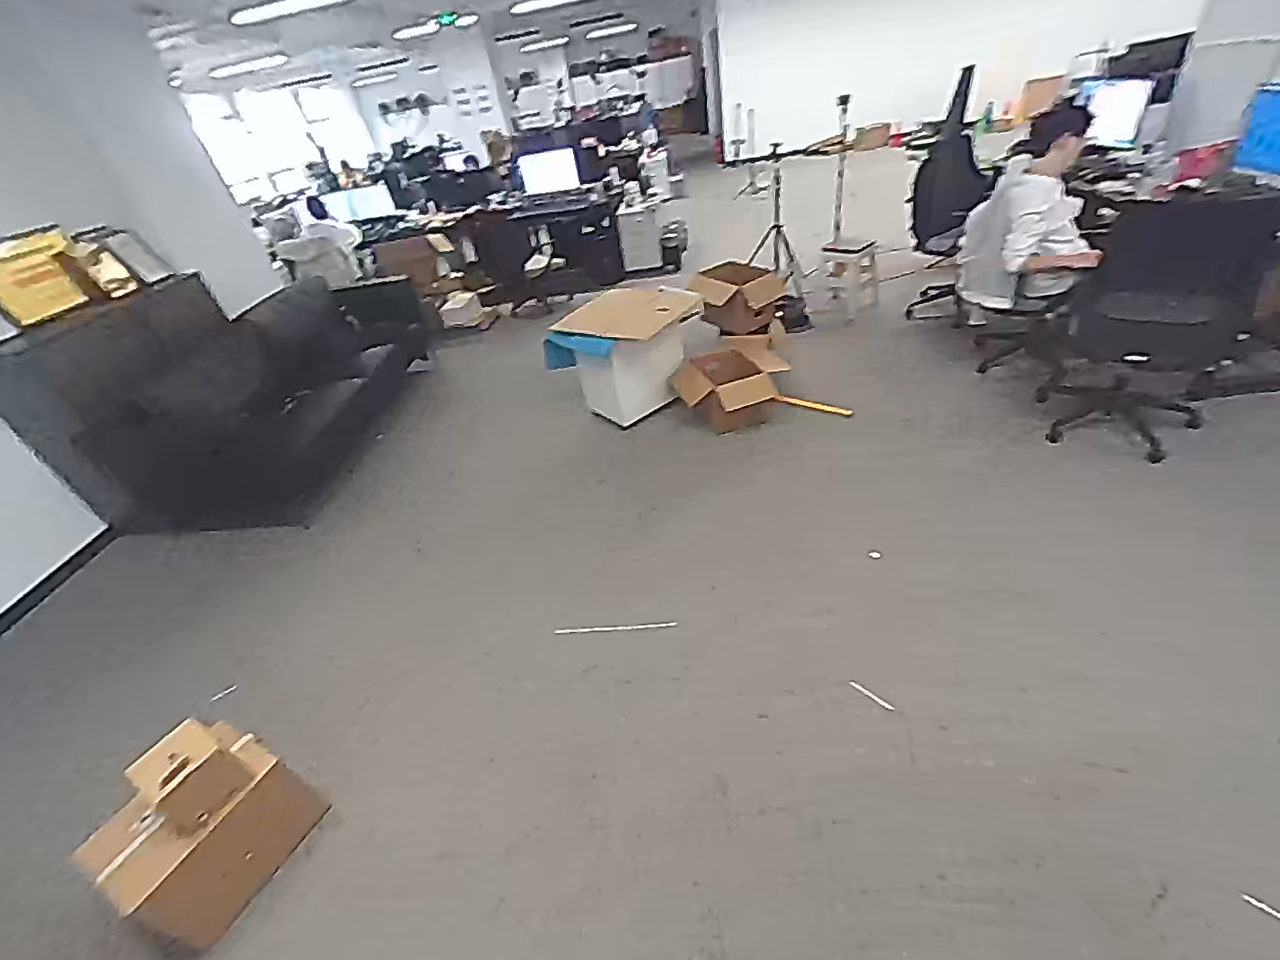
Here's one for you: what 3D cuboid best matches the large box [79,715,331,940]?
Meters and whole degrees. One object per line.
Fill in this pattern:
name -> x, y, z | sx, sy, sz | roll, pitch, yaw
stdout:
large box -> -1.210, 0.977, 1.553 | 0.320, 0.320, 0.408 | 11, 43, 27

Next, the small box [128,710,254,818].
small box -> -1.175, 0.753, 1.427 | 0.179, 0.176, 0.168 | 15, 44, 28
